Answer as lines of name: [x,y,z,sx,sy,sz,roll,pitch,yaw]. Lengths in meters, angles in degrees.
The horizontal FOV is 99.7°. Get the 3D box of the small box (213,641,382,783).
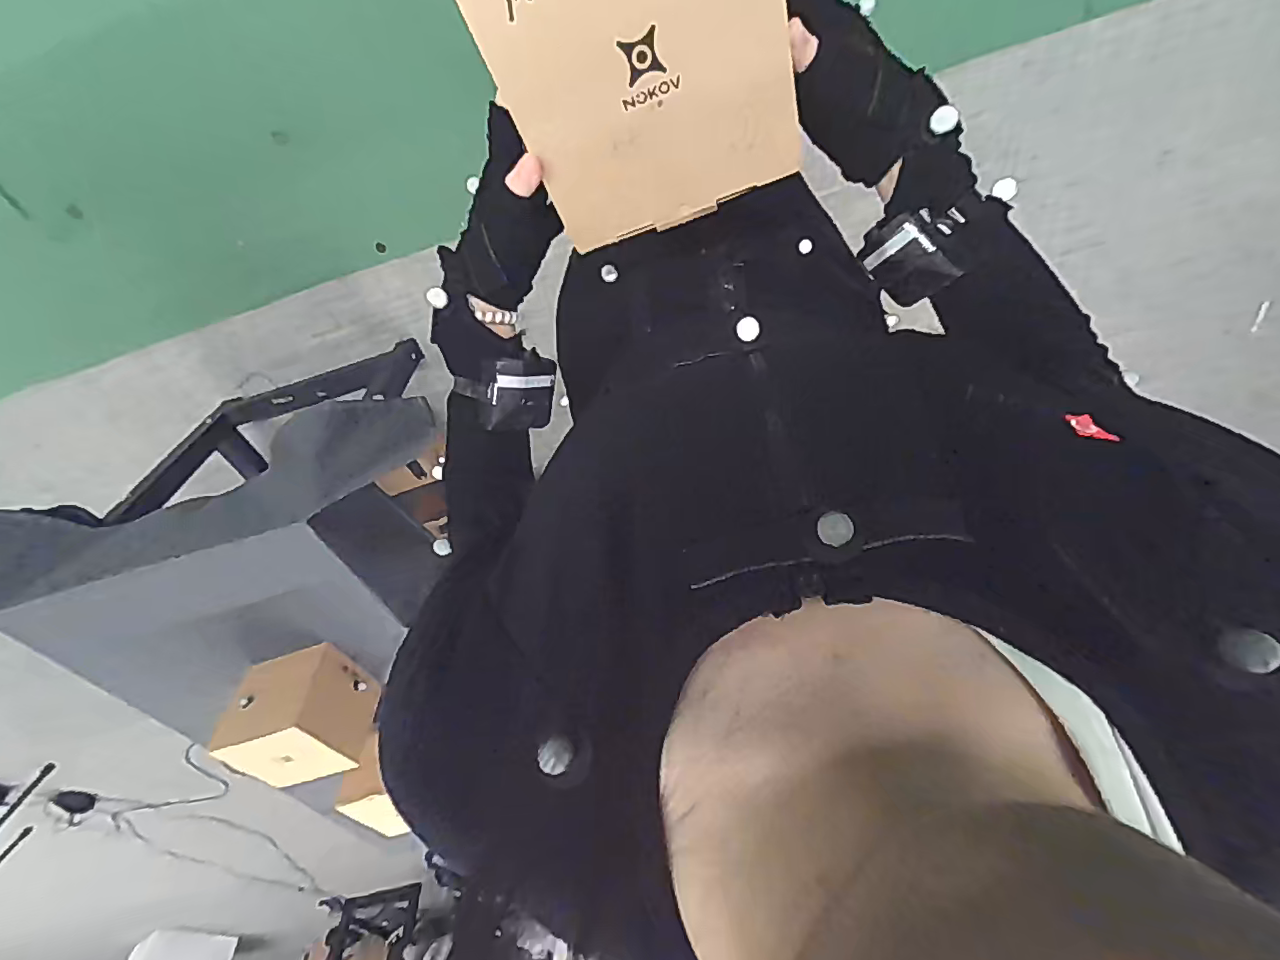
small box: [-0.618,0.427,1.003,0.179,0.176,0.168,-18,129,8]

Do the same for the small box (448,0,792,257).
small box: [-0.005,-0.293,0.362,0.168,0.176,0.179,-15,142,13]

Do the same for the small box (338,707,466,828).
small box: [-0.501,0.621,1.172,0.168,0.176,0.179,-19,128,10]
